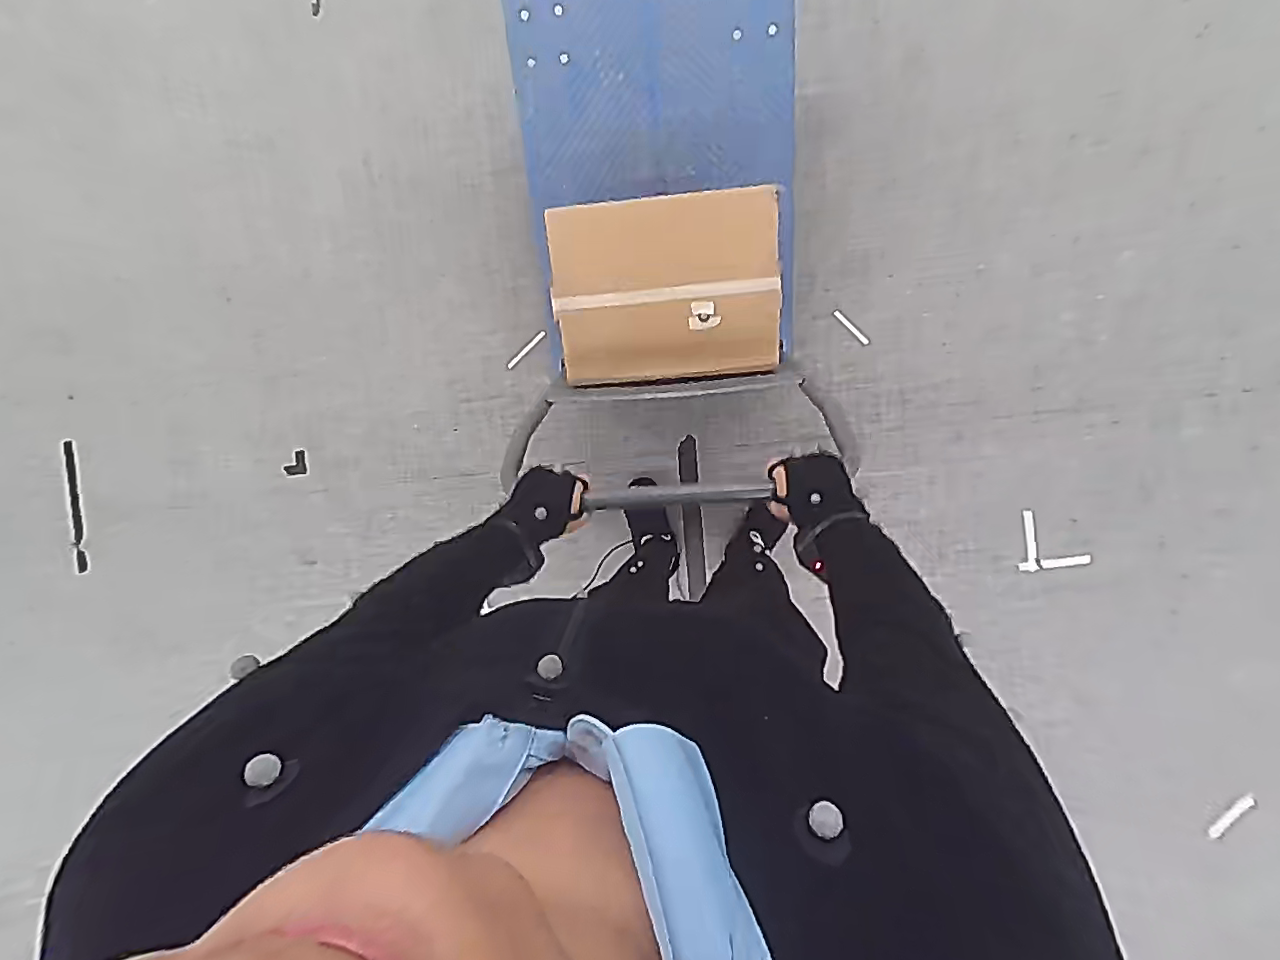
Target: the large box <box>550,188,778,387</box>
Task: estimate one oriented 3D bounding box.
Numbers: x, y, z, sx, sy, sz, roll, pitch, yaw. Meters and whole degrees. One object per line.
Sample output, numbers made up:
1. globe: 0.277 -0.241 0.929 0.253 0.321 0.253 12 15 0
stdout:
1. large box: 0.056 -0.396 1.134 0.408 0.320 0.320 -4 112 4
